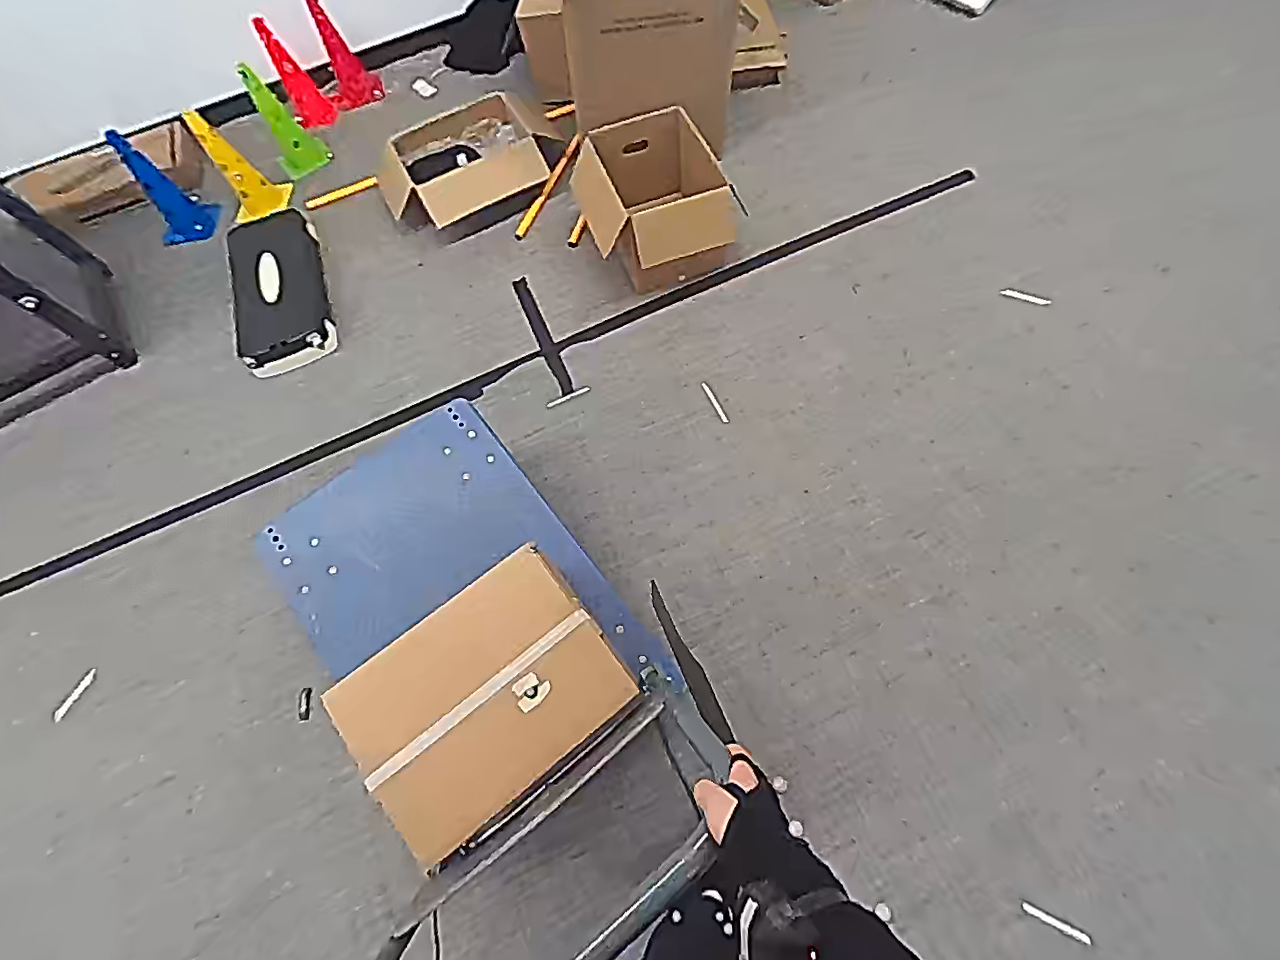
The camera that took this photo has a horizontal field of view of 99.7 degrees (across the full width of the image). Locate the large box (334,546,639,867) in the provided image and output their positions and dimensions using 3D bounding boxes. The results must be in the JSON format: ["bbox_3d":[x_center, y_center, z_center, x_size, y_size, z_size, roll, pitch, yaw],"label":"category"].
[{"bbox_3d":[-0.251,0.391,1.013,0.408,0.320,0.320,-37,78,-12],"label":"large box"}]
